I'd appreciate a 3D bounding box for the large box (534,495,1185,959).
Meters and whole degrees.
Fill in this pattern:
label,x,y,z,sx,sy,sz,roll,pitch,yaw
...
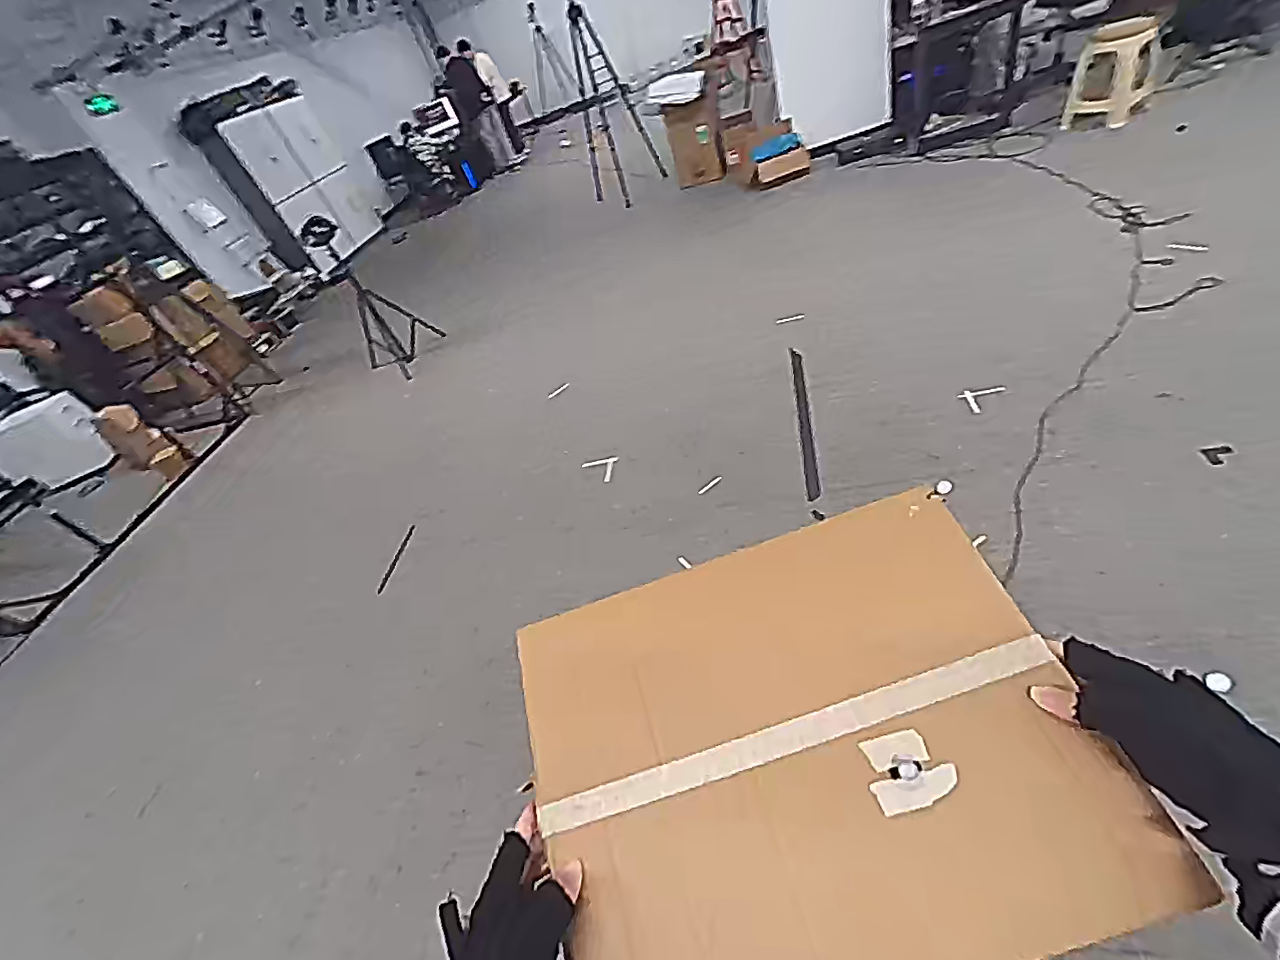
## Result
label,x,y,z,sx,sy,sz,roll,pitch,yaw
large box,0.153,0.278,0.552,0.408,0.320,0.320,-20,57,2
